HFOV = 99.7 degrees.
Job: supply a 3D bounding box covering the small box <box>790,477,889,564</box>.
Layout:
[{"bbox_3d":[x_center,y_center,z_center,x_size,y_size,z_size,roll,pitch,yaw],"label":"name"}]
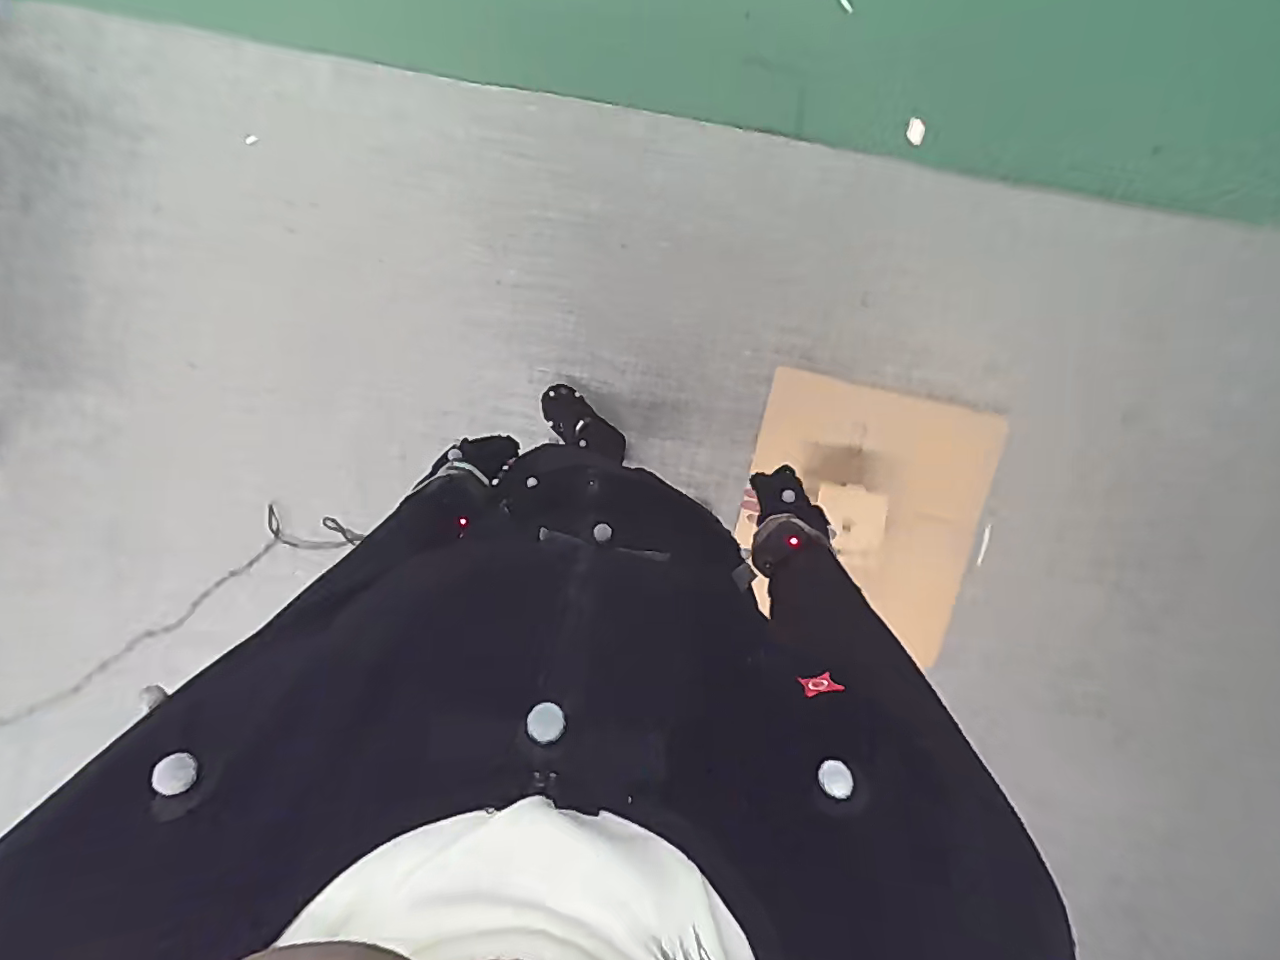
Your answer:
[{"bbox_3d":[0.480,0.091,1.326,0.168,0.176,0.179,8,96,-1],"label":"small box"}]
